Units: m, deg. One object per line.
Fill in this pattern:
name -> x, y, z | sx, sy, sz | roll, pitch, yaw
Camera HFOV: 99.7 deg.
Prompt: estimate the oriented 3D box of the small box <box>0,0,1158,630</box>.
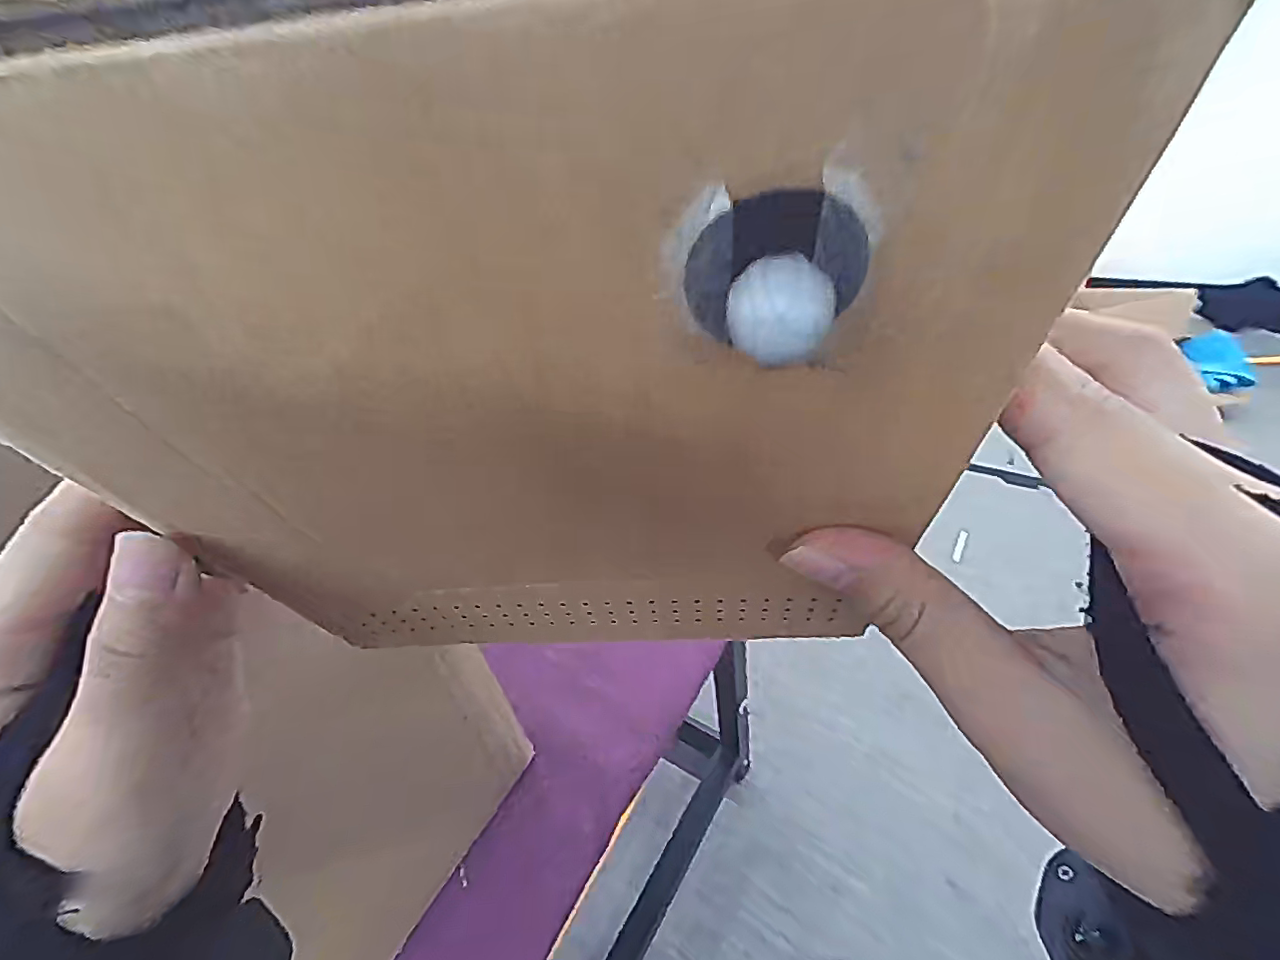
small box -> -0.021, -0.062, 0.164 | 0.179, 0.176, 0.168 | -3, 54, 5
